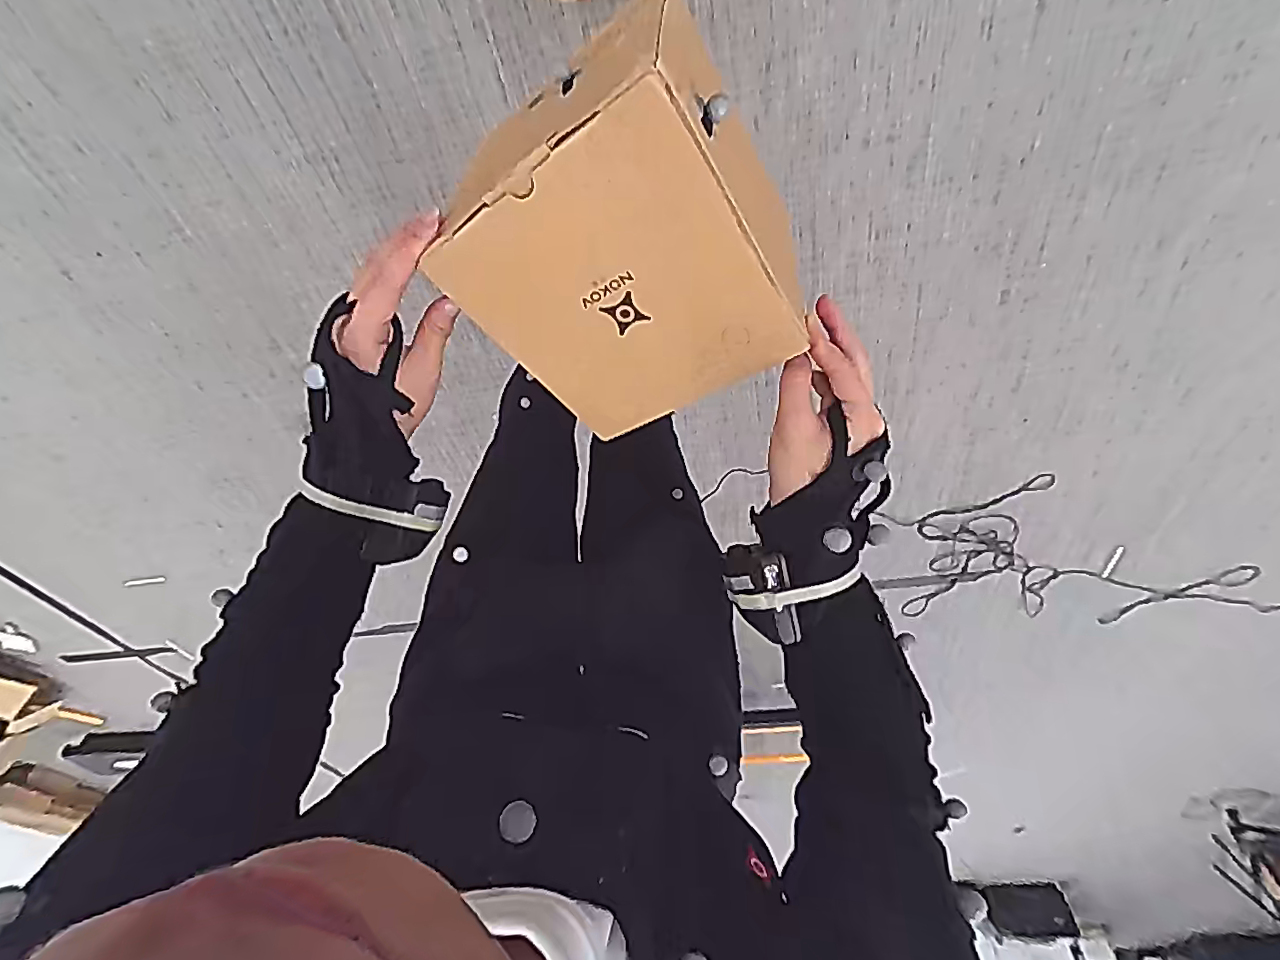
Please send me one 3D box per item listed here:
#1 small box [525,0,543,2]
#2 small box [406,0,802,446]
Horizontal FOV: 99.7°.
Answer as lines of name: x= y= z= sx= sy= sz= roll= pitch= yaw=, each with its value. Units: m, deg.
small box: x=-0.070 y=-0.684 z=0.621 sx=0.168 sy=0.176 sz=0.179 roll=-8 pitch=131 yaw=8
small box: x=-0.008 y=-0.157 z=0.358 sx=0.168 sy=0.176 sz=0.179 roll=-21 pitch=134 yaw=30
